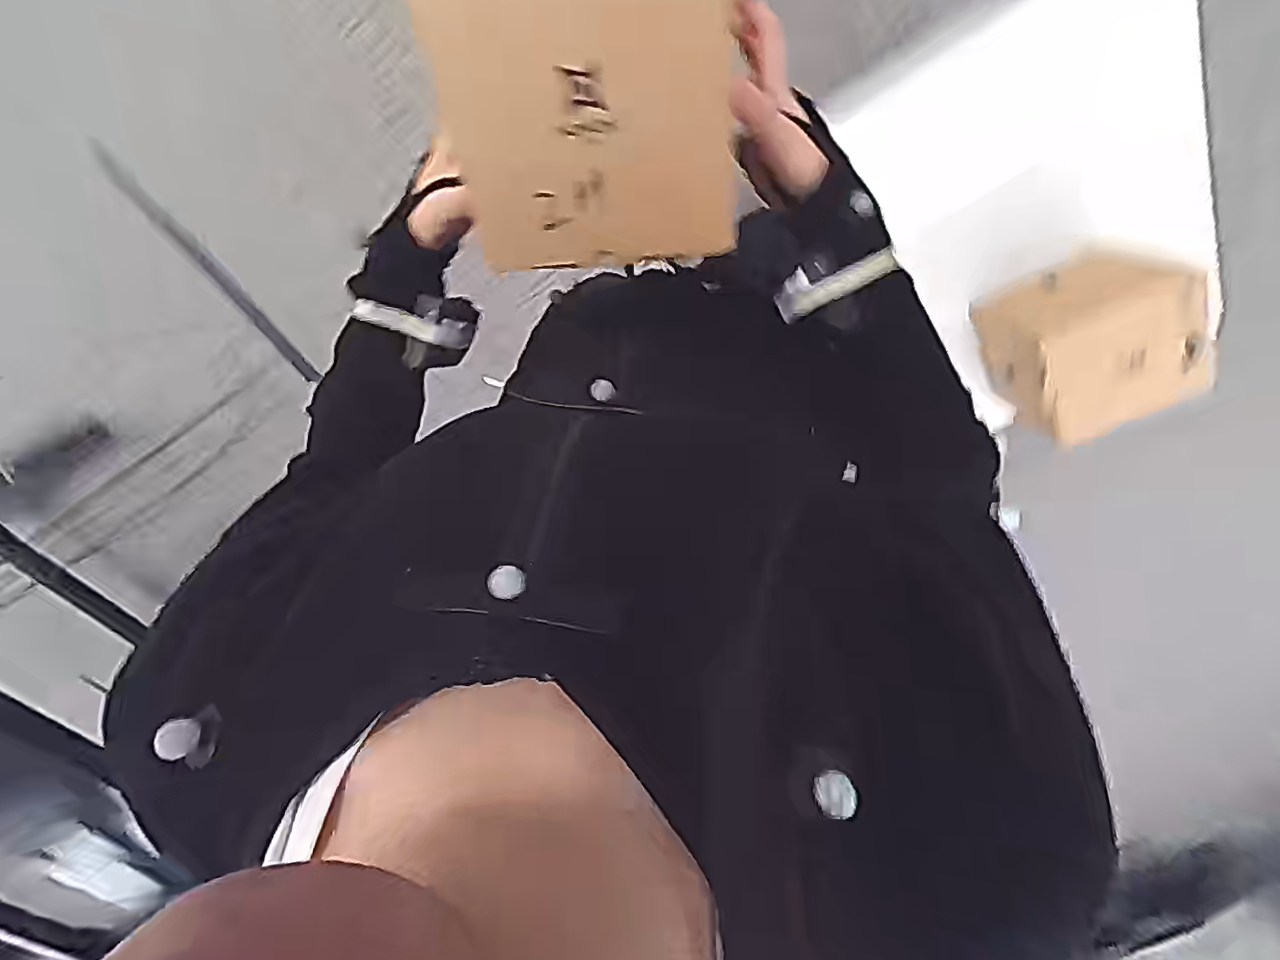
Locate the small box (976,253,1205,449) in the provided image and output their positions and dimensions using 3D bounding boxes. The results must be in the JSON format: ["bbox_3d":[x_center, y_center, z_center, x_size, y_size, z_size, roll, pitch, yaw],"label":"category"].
[{"bbox_3d":[0.576,-0.174,0.714,0.179,0.176,0.168,-24,117,16],"label":"small box"}]

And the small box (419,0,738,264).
[{"bbox_3d":[-0.022,-0.263,0.359,0.168,0.176,0.179,-1,130,9],"label":"small box"}]
